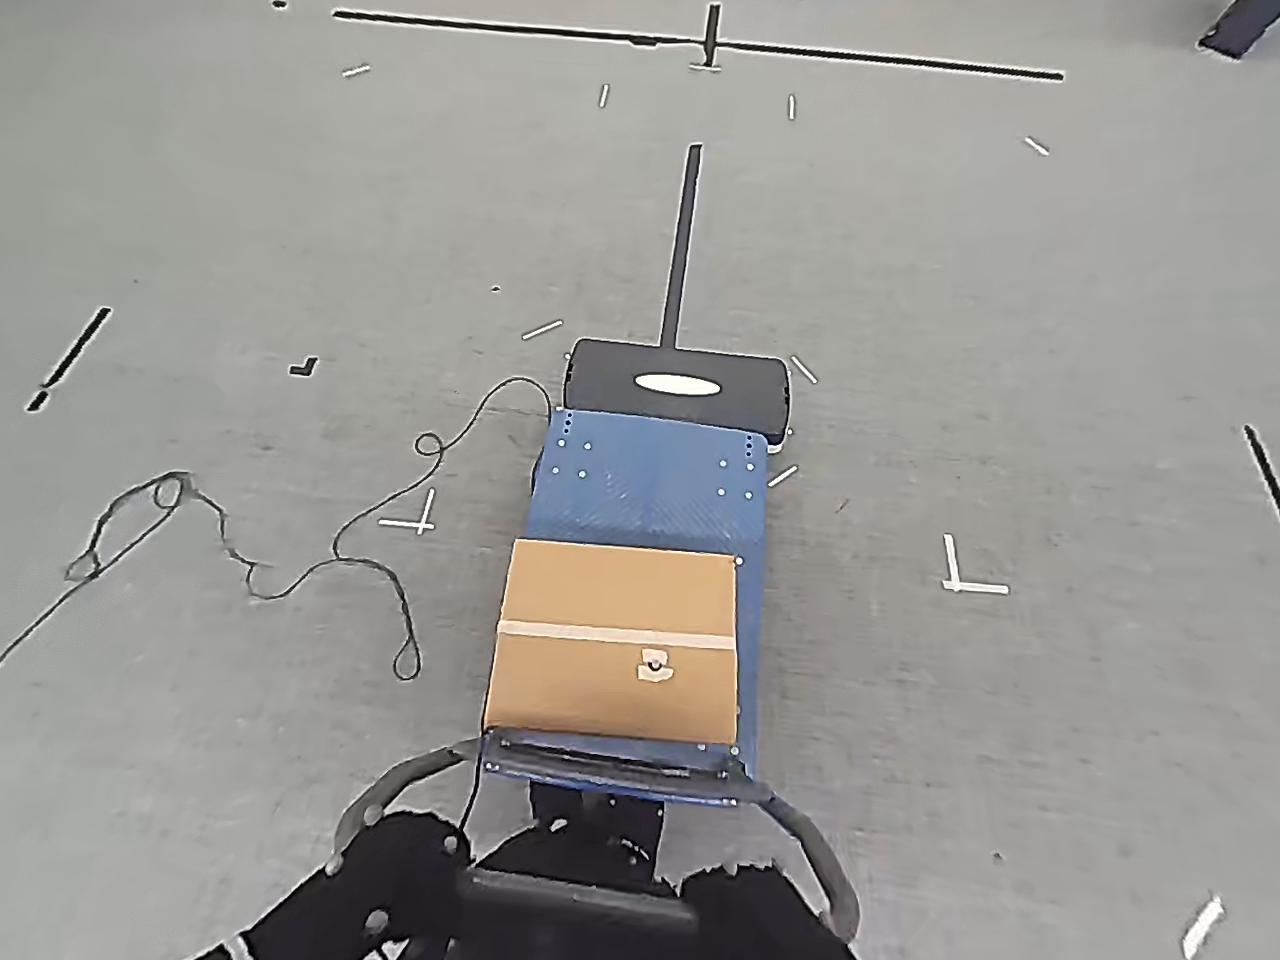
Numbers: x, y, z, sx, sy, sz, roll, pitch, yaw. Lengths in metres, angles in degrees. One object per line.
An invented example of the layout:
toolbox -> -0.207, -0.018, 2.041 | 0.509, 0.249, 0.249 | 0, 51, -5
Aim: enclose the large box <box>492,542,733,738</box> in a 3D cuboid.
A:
large box -> -0.044, 0.329, 1.075 | 0.408, 0.320, 0.320 | 5, 66, 0
